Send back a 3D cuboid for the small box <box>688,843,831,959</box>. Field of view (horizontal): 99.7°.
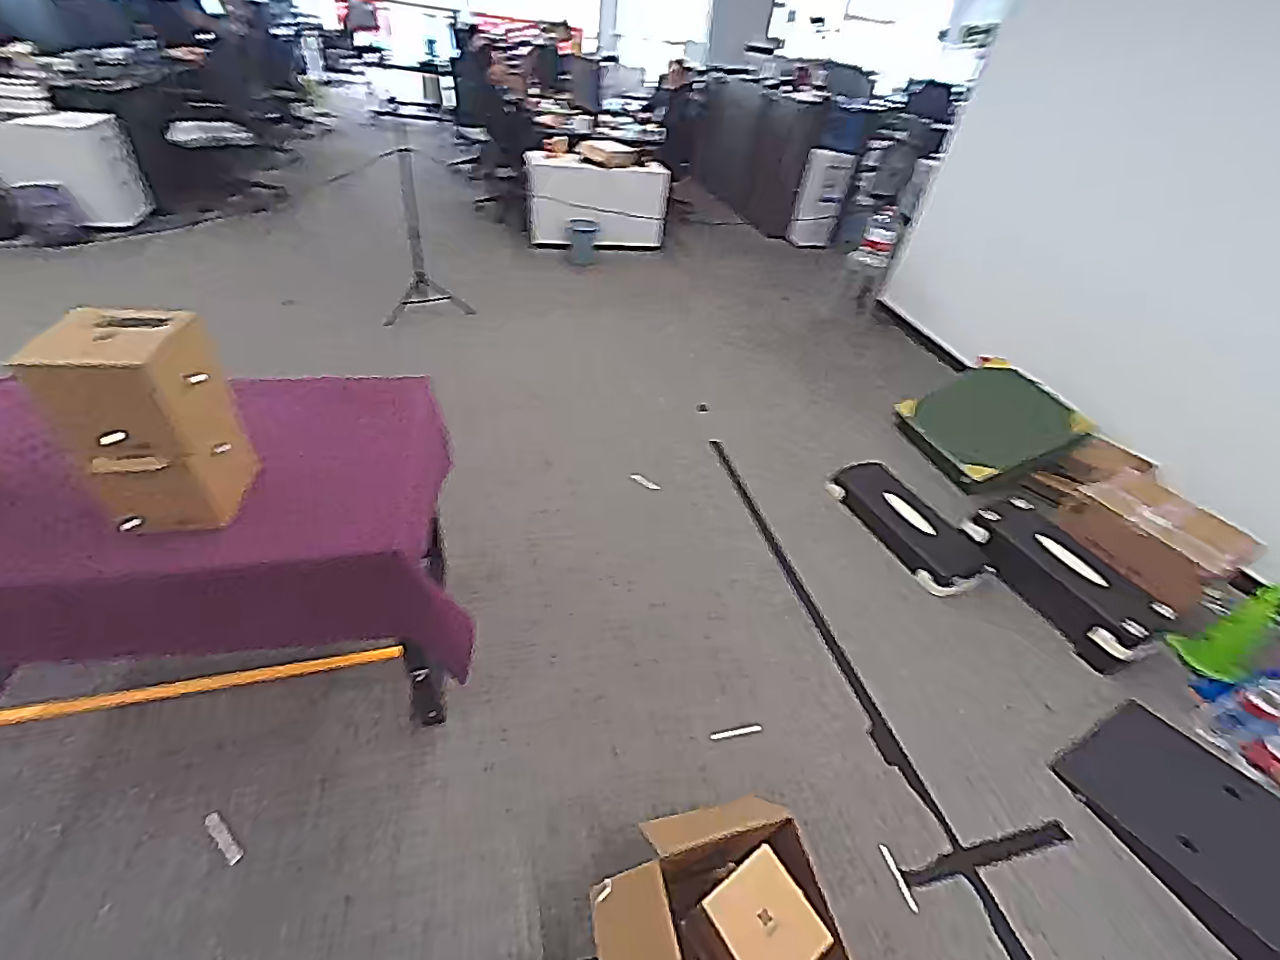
[{"bbox_3d":[0.211,0.831,1.010,0.168,0.176,0.179,-22,54,-28],"label":"small box"}]

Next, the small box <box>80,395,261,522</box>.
[{"bbox_3d":[-0.818,-0.037,0.970,0.168,0.176,0.179,-1,41,-12],"label":"small box"}]
